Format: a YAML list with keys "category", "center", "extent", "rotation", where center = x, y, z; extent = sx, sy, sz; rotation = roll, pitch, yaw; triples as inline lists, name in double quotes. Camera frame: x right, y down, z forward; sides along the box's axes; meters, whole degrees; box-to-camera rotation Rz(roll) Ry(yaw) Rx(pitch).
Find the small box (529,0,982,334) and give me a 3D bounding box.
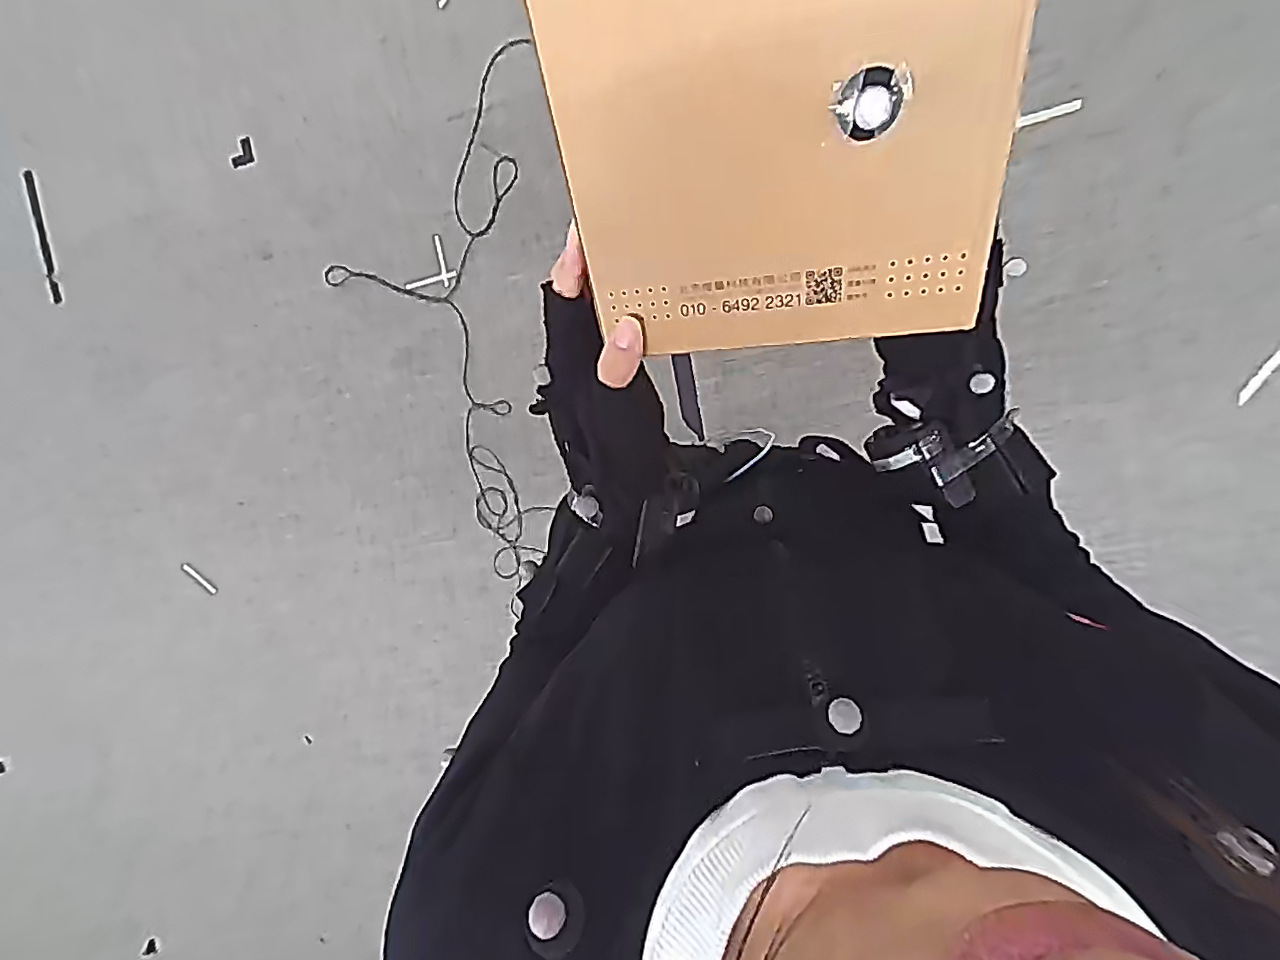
- category: "small box"
  center: [0.067, -0.185, 0.287]
  extent: [0.168, 0.179, 0.176]
  rotation: [0, 128, 17]
